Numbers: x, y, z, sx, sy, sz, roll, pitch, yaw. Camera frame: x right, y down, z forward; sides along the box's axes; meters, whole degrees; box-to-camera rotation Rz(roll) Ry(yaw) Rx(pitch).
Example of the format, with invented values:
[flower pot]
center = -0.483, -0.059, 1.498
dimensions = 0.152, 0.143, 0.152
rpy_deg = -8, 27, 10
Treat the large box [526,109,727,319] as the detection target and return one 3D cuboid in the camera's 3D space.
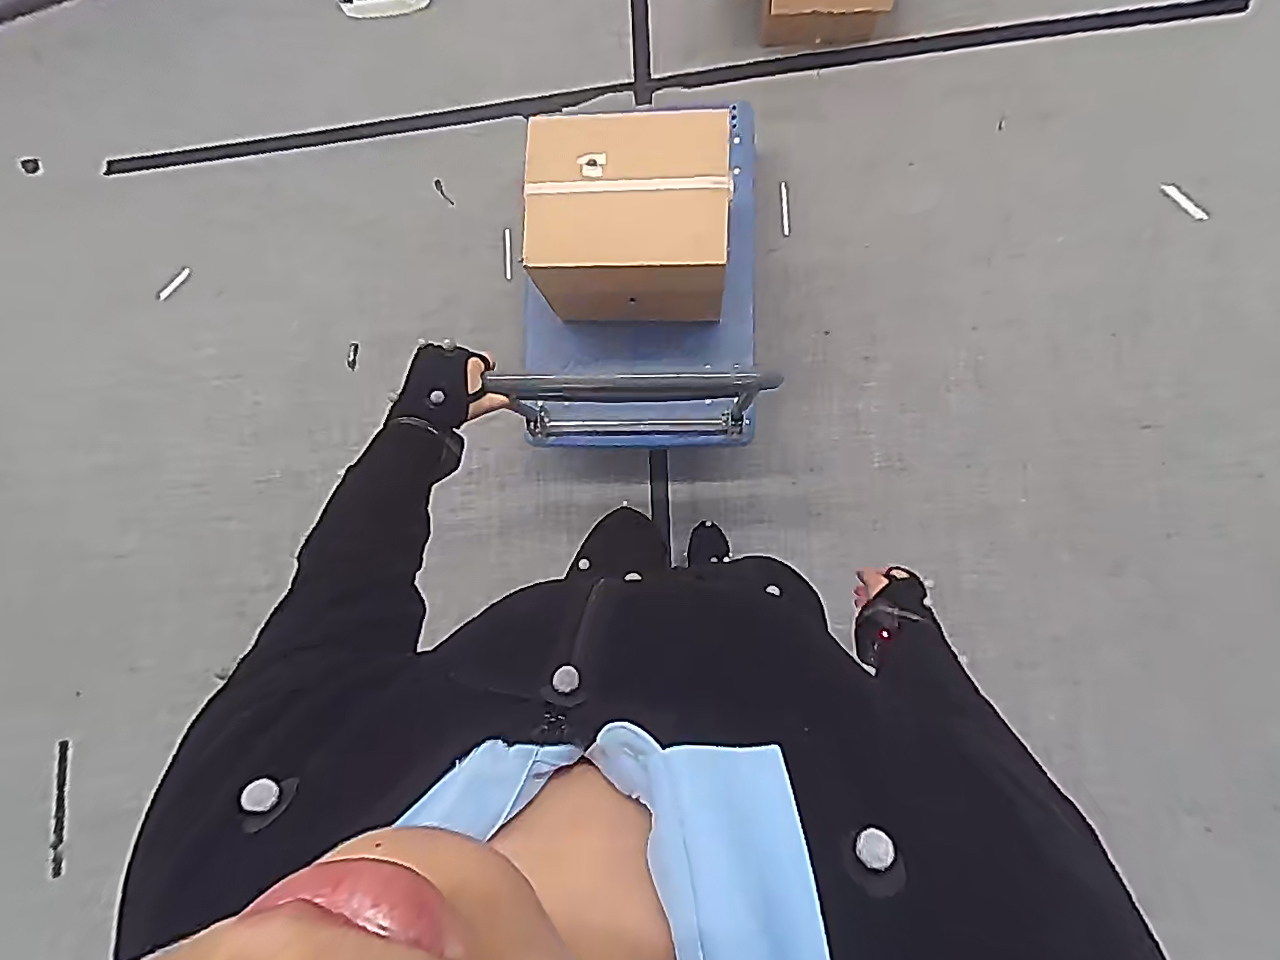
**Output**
[large box]
center = -0.011, -0.567, 1.220
dimensions = 0.408, 0.320, 0.320
rpy_deg = 1, 86, 7
